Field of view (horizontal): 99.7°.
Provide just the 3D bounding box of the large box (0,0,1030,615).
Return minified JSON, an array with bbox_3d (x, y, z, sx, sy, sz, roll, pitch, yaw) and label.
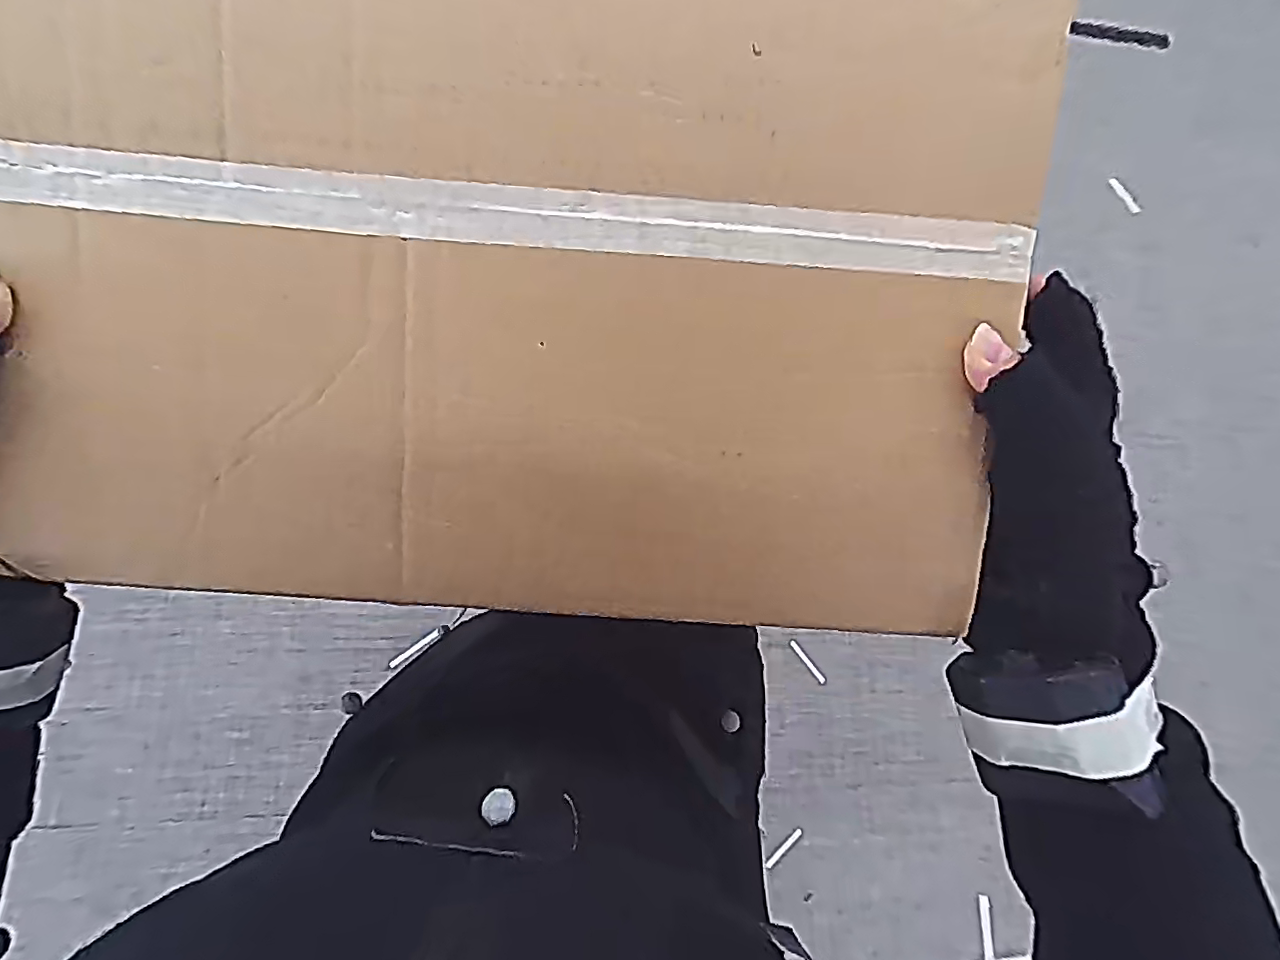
[{"bbox_3d":[-0.055,-0.123,0.367,0.408,0.320,0.320,5,97,-2],"label":"large box"}]
